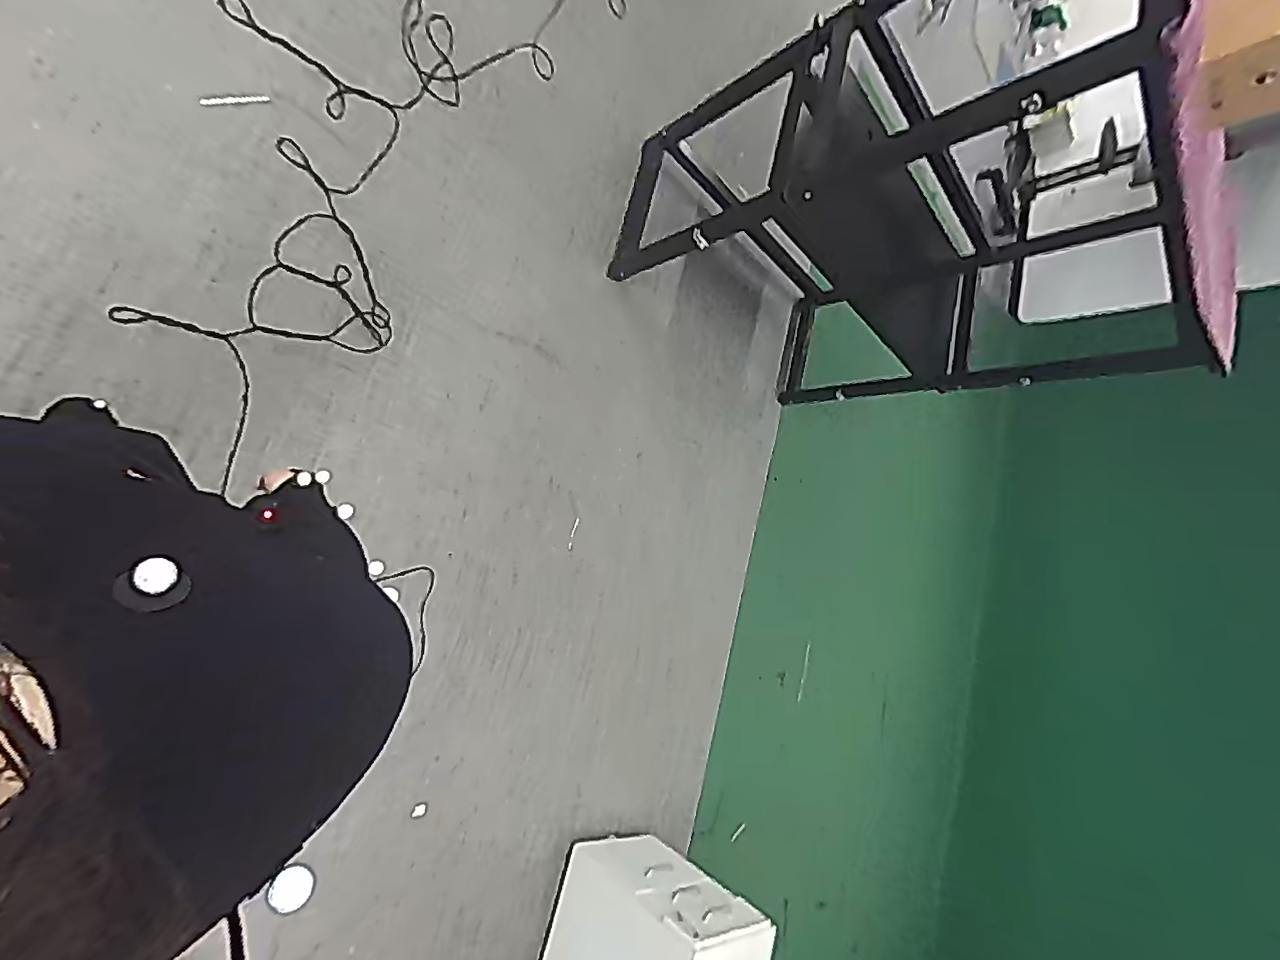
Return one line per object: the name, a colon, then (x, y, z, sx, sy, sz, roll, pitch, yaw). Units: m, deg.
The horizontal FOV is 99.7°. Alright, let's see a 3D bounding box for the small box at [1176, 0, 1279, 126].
small box: (1.042, -0.761, 0.926, 0.168, 0.176, 0.179, 22, 76, -42)
